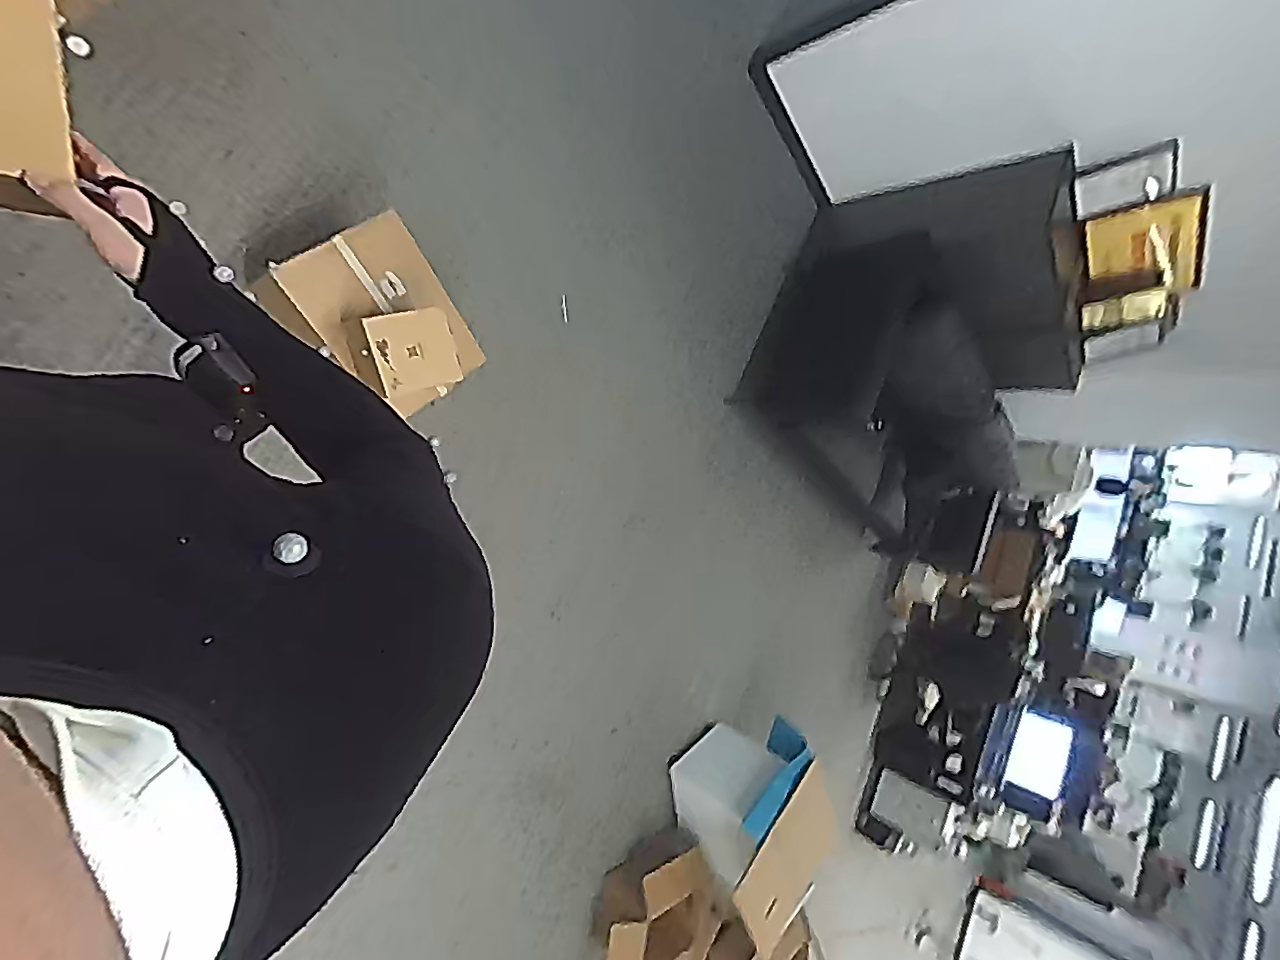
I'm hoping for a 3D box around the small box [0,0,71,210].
[{"bbox_3d":[-0.584,-0.341,0.432,0.168,0.176,0.179,-7,105,-44],"label":"small box"}]

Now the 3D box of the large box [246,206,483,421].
[{"bbox_3d":[-0.688,-0.403,1.373,0.320,0.320,0.408,-47,126,-28],"label":"large box"}]

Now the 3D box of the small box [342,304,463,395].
[{"bbox_3d":[-0.528,-0.294,1.204,0.179,0.176,0.168,-25,116,-37],"label":"small box"}]
